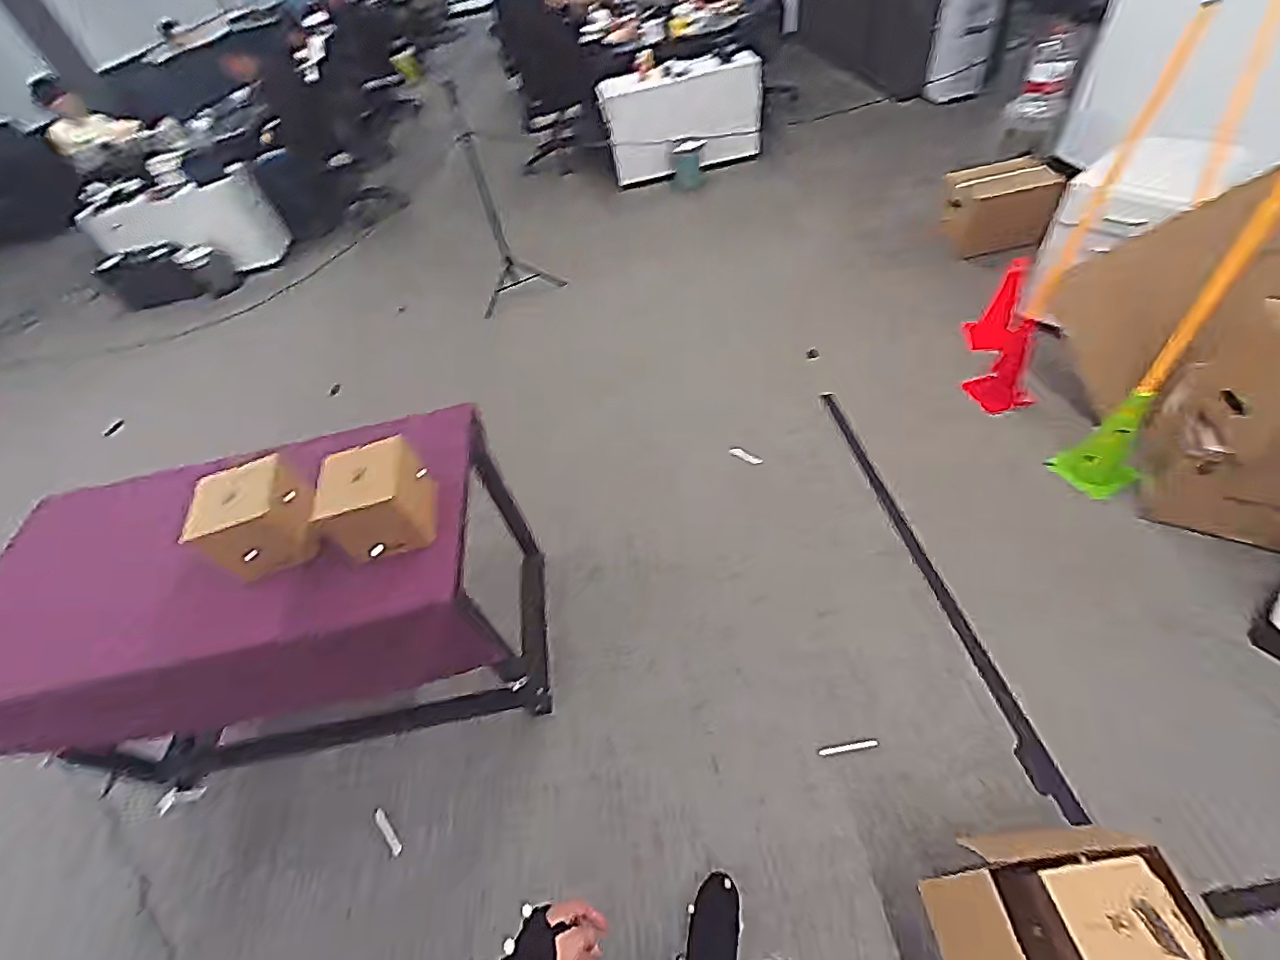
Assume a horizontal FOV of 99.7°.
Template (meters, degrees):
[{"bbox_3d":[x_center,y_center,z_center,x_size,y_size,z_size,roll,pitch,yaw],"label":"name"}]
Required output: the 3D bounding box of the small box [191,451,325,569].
[{"bbox_3d":[-0.810,0.073,1.173,0.168,0.176,0.179,-18,49,-5],"label":"small box"}]

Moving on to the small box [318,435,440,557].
[{"bbox_3d":[-0.541,0.036,1.151,0.168,0.176,0.179,-15,49,0],"label":"small box"}]
